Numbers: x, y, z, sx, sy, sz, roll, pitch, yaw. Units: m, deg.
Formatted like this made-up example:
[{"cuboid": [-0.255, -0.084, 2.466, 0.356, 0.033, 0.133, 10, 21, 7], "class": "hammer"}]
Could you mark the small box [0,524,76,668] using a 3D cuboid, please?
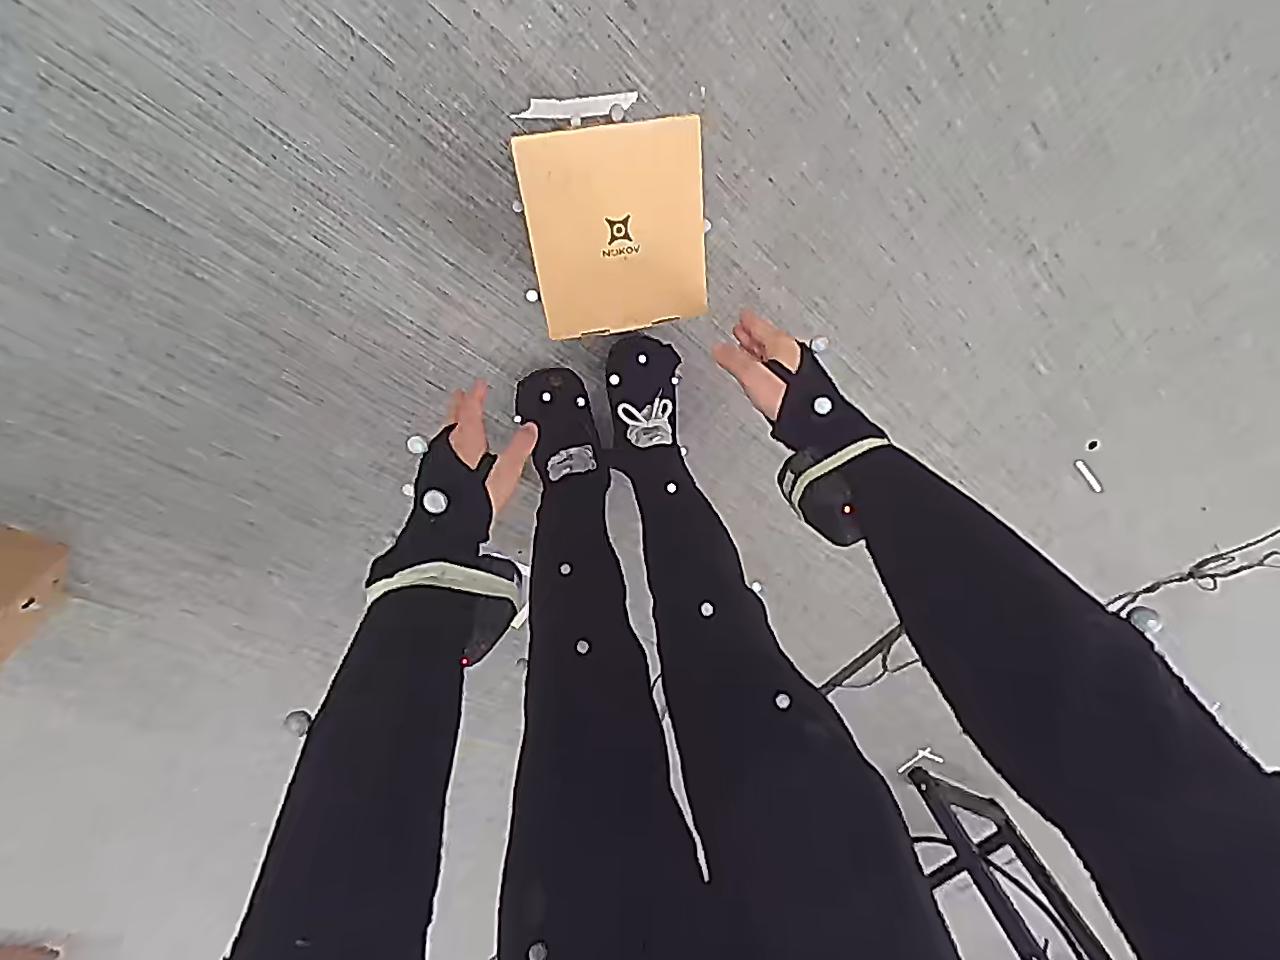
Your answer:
[{"cuboid": [-1.029, 0.175, 0.820, 0.179, 0.176, 0.168, 28, 111, -24], "class": "small box"}]

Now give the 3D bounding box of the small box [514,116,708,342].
[{"cuboid": [-0.034, -0.266, 0.567, 0.168, 0.176, 0.179, -12, 124, -6], "class": "small box"}]
